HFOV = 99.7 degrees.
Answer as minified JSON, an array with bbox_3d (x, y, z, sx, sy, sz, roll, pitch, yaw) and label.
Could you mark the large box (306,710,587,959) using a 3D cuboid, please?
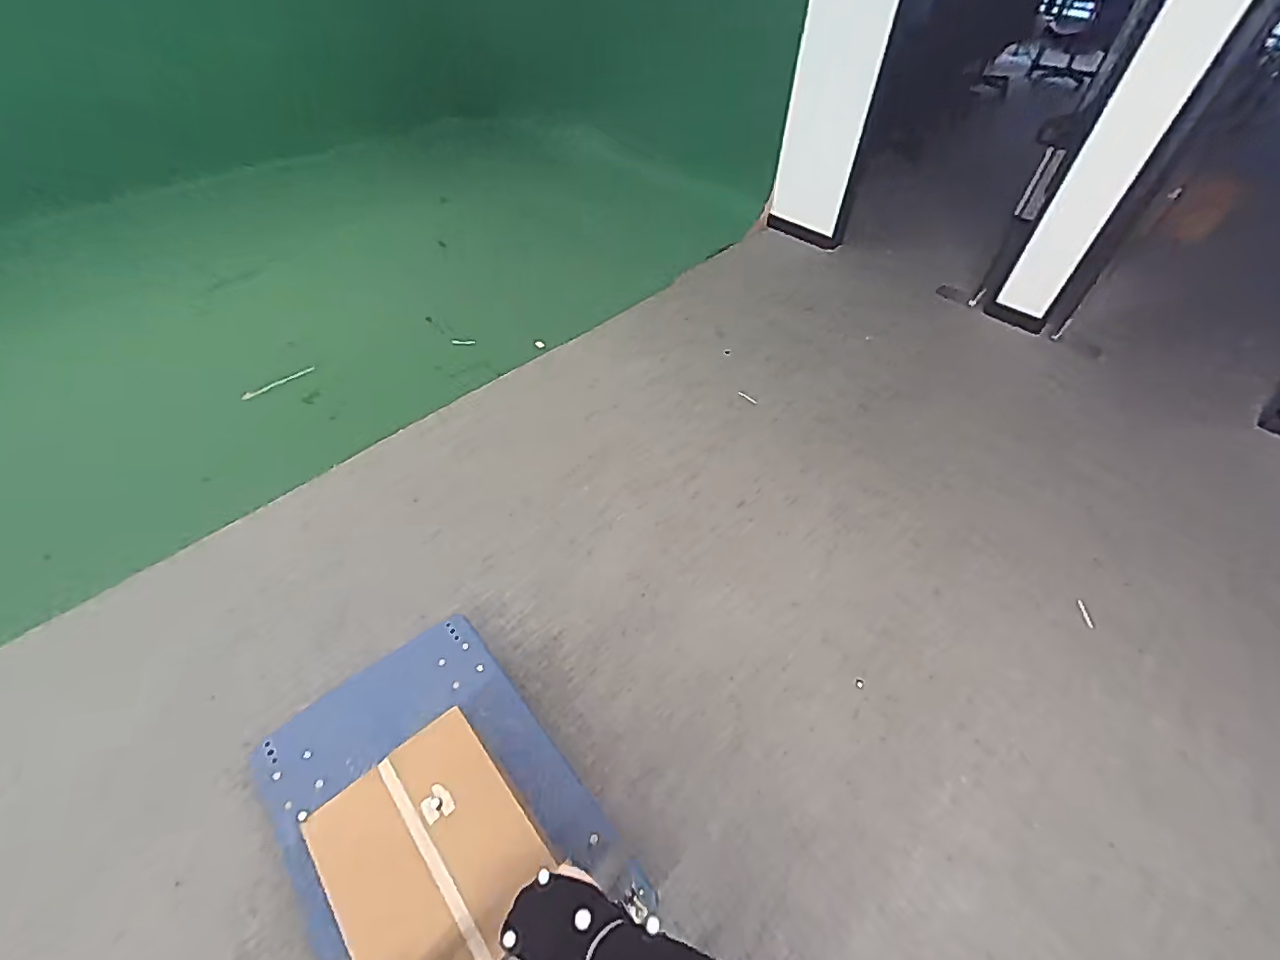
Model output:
[{"bbox_3d":[-0.353,0.748,1.050,0.320,0.320,0.408,-33,57,-25],"label":"large box"}]
